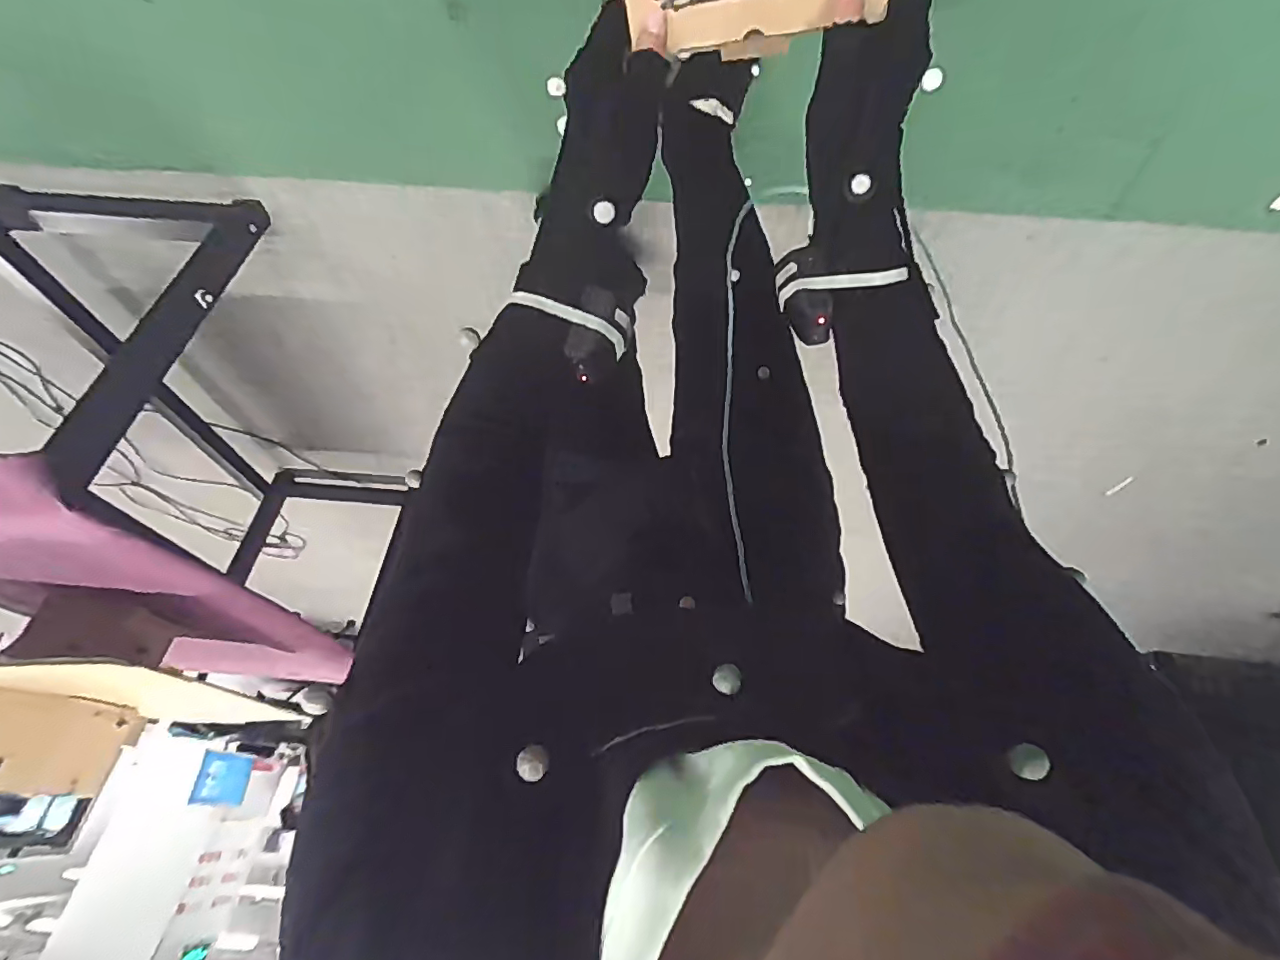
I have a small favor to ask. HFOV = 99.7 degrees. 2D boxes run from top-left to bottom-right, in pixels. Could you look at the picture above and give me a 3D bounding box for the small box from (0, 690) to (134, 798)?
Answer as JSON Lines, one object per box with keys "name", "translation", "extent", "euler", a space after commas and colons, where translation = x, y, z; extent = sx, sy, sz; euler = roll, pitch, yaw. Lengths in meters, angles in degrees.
{"name": "small box", "translation": [-1.166, 0.521, 1.067], "extent": [0.179, 0.176, 0.168], "euler": [7, 148, 0]}
